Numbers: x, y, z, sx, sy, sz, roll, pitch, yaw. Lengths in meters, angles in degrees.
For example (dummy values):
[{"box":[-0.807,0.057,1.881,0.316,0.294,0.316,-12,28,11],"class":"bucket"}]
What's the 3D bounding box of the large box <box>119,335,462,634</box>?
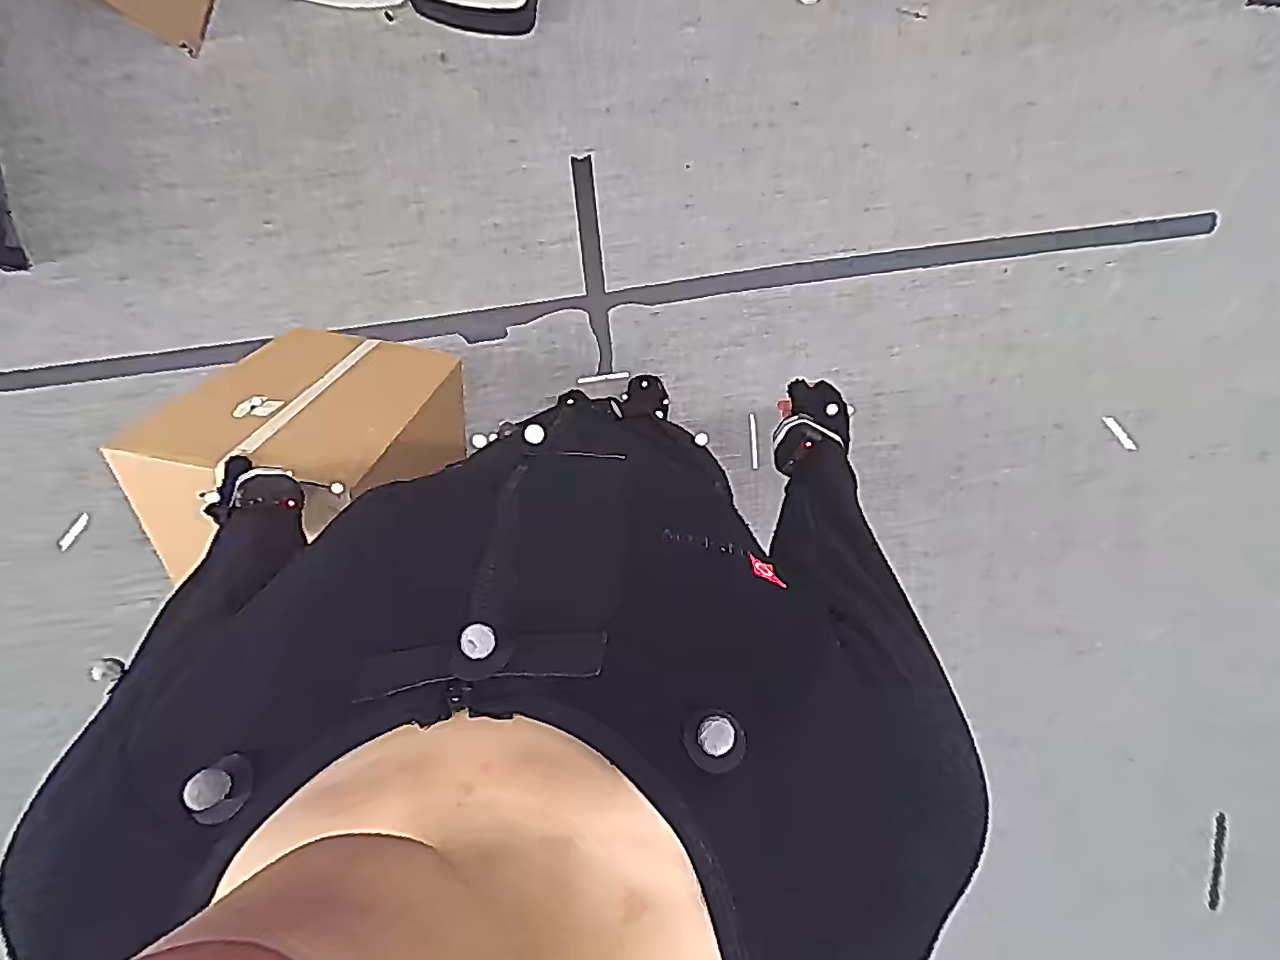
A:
[{"box":[-0.529,-0.007,0.942,0.320,0.408,0.320,9,128,0],"class":"large box"}]
